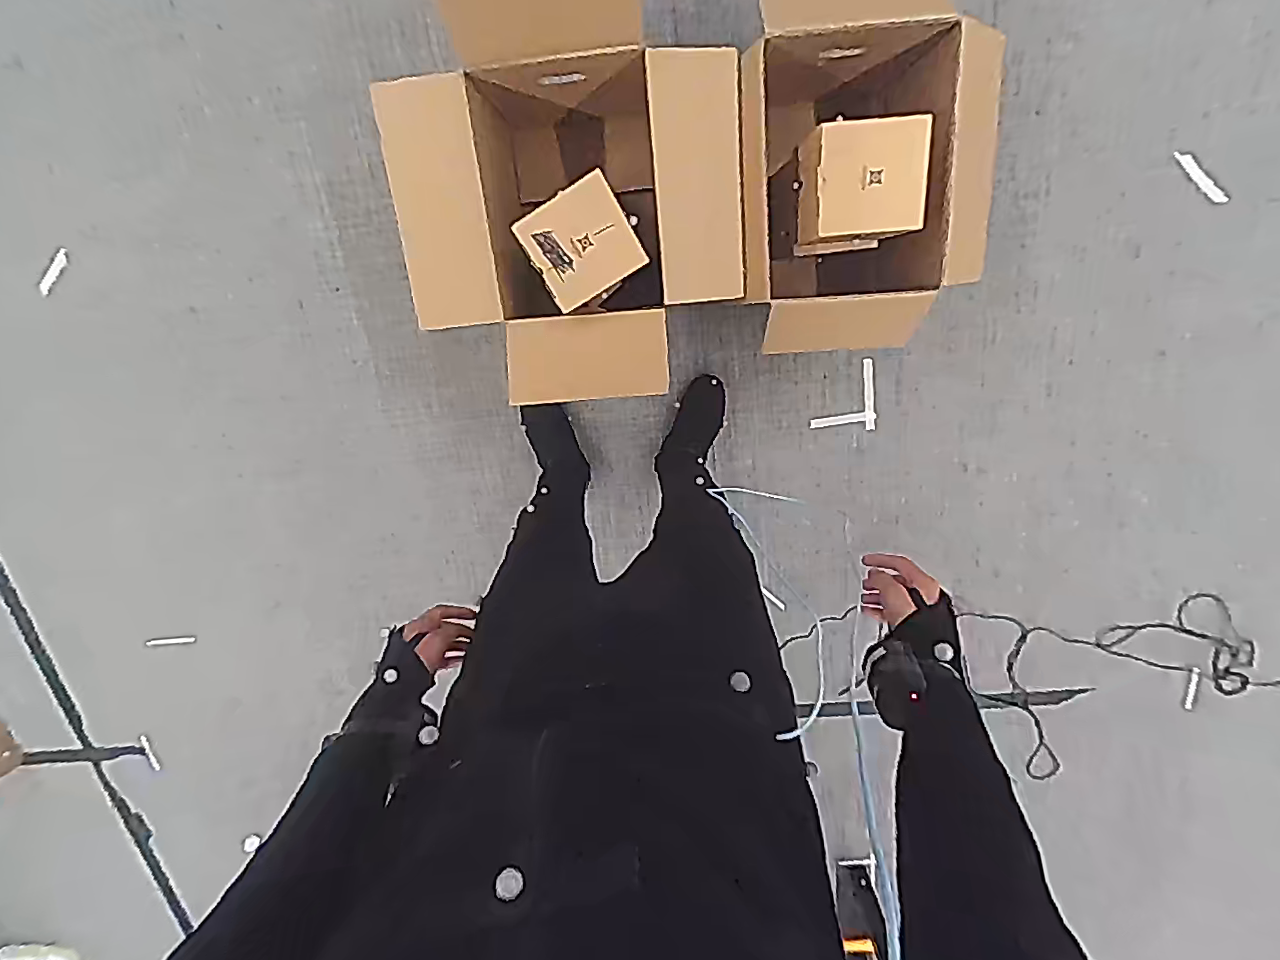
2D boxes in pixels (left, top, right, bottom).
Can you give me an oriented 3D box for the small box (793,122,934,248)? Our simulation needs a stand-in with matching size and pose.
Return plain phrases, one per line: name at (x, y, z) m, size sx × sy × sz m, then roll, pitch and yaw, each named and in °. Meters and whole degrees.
small box at (0.378, -0.503, 0.944) m, size 0.179 × 0.176 × 0.168 m, roll -4°, pitch 109°, yaw 3°
